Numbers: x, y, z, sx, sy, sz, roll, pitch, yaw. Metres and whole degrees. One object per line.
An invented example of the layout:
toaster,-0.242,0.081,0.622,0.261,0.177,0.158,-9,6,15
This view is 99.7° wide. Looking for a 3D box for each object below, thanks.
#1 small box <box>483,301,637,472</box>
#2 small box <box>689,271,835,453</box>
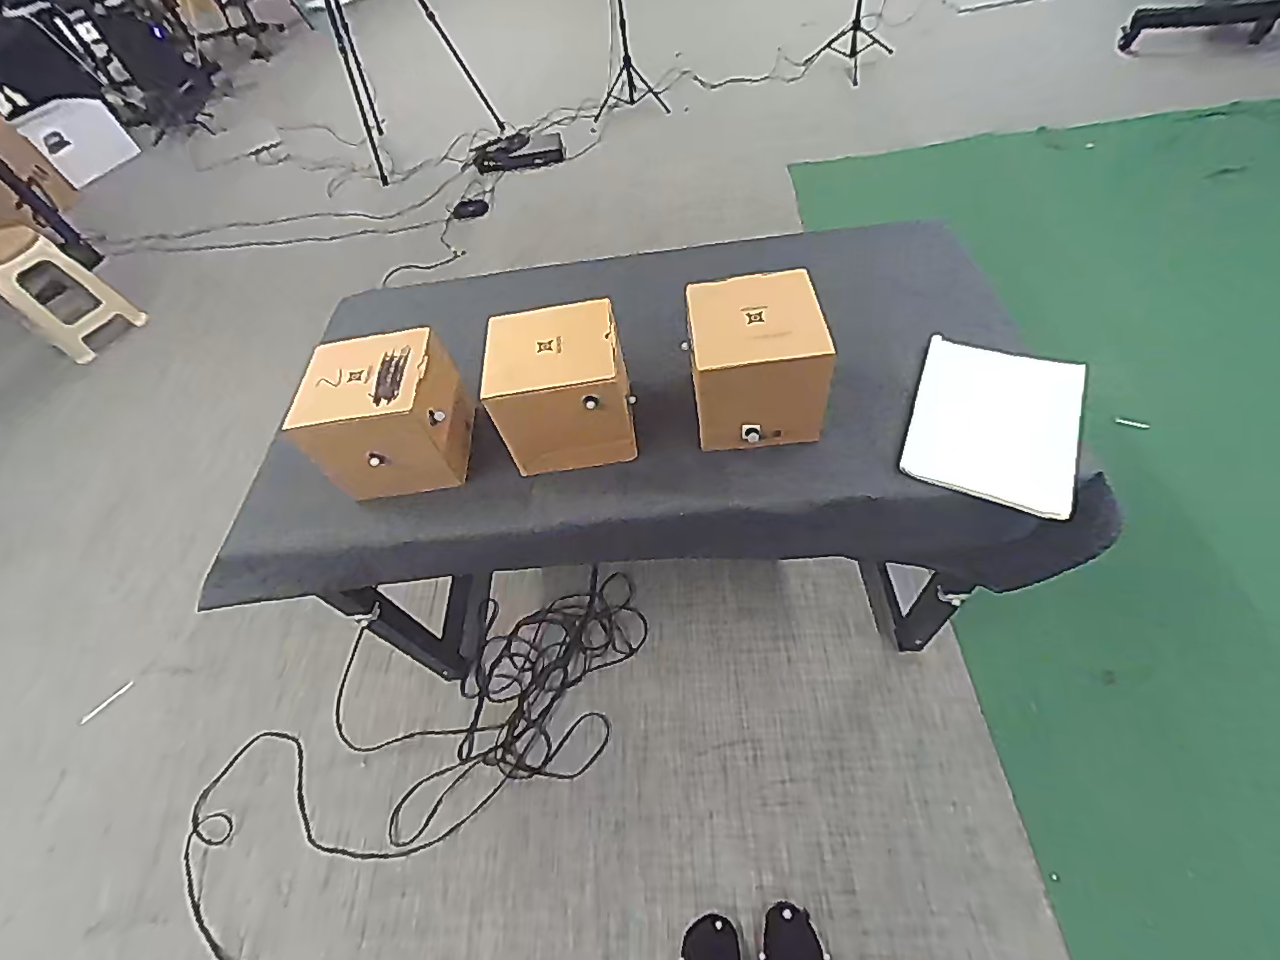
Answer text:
small box,-0.107,-0.128,0.782,0.179,0.176,0.168,-9,53,2
small box,0.161,-0.162,0.762,0.168,0.176,0.179,-7,54,6
